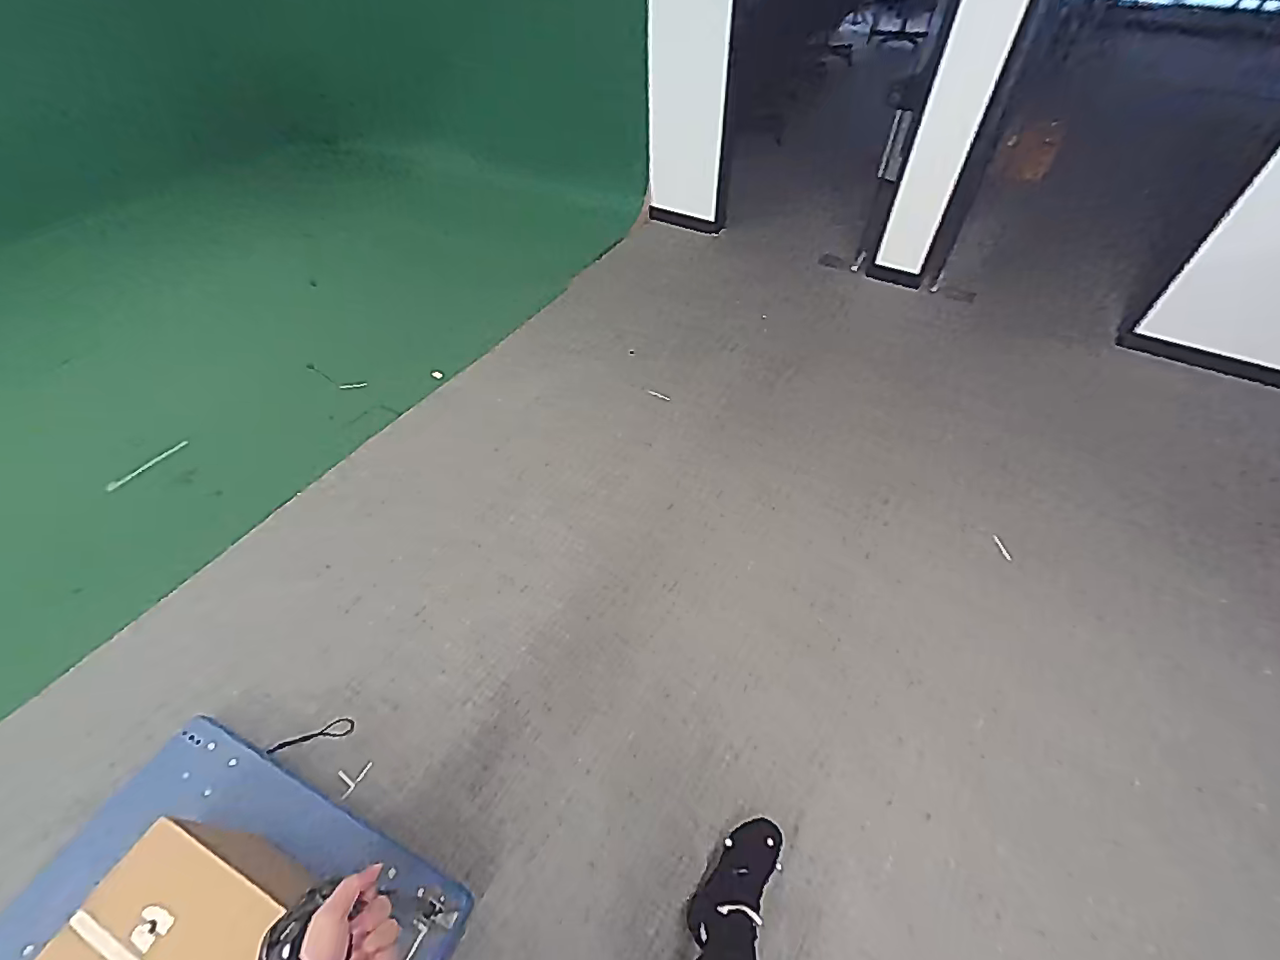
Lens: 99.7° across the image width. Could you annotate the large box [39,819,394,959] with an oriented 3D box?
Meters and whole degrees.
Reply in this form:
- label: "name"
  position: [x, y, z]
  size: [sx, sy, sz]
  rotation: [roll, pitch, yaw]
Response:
- label: "large box"
  position: [-0.735, 0.870, 0.947]
  size: [0.408, 0.320, 0.320]
  rotation: [19, 53, 18]
